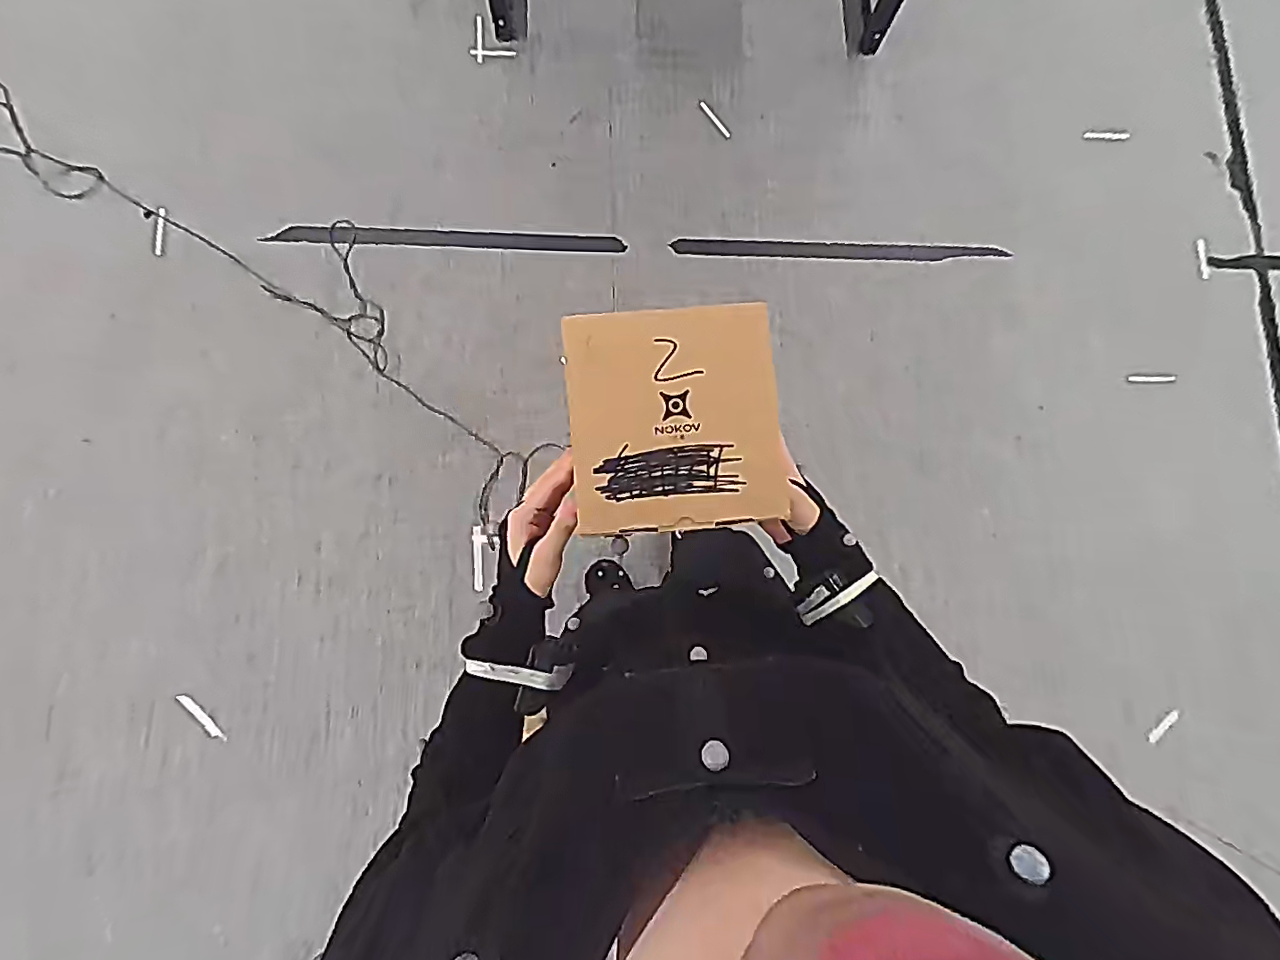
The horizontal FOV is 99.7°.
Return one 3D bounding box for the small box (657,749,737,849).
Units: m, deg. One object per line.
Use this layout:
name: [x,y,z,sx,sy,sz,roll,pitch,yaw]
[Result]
small box: [0.136,0.782,1.339,0.179,0.176,0.168,1,83,-5]
